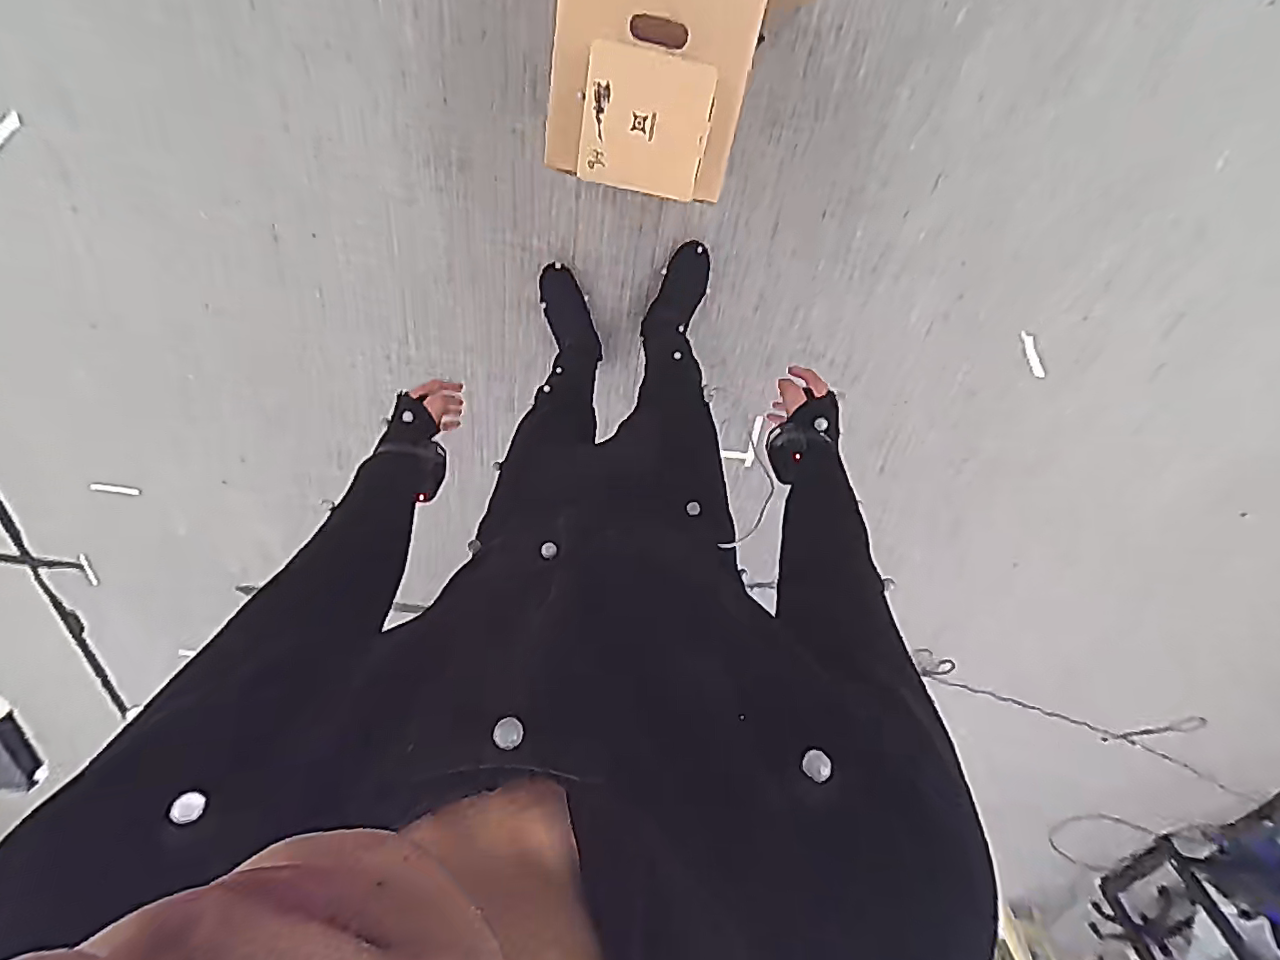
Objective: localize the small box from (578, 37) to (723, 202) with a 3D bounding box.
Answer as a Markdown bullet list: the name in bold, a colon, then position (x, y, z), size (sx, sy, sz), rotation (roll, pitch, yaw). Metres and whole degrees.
- **small box**: position (0.010, -0.537, 0.814), size (0.179, 0.176, 0.168), rotation (9, 123, -6)
